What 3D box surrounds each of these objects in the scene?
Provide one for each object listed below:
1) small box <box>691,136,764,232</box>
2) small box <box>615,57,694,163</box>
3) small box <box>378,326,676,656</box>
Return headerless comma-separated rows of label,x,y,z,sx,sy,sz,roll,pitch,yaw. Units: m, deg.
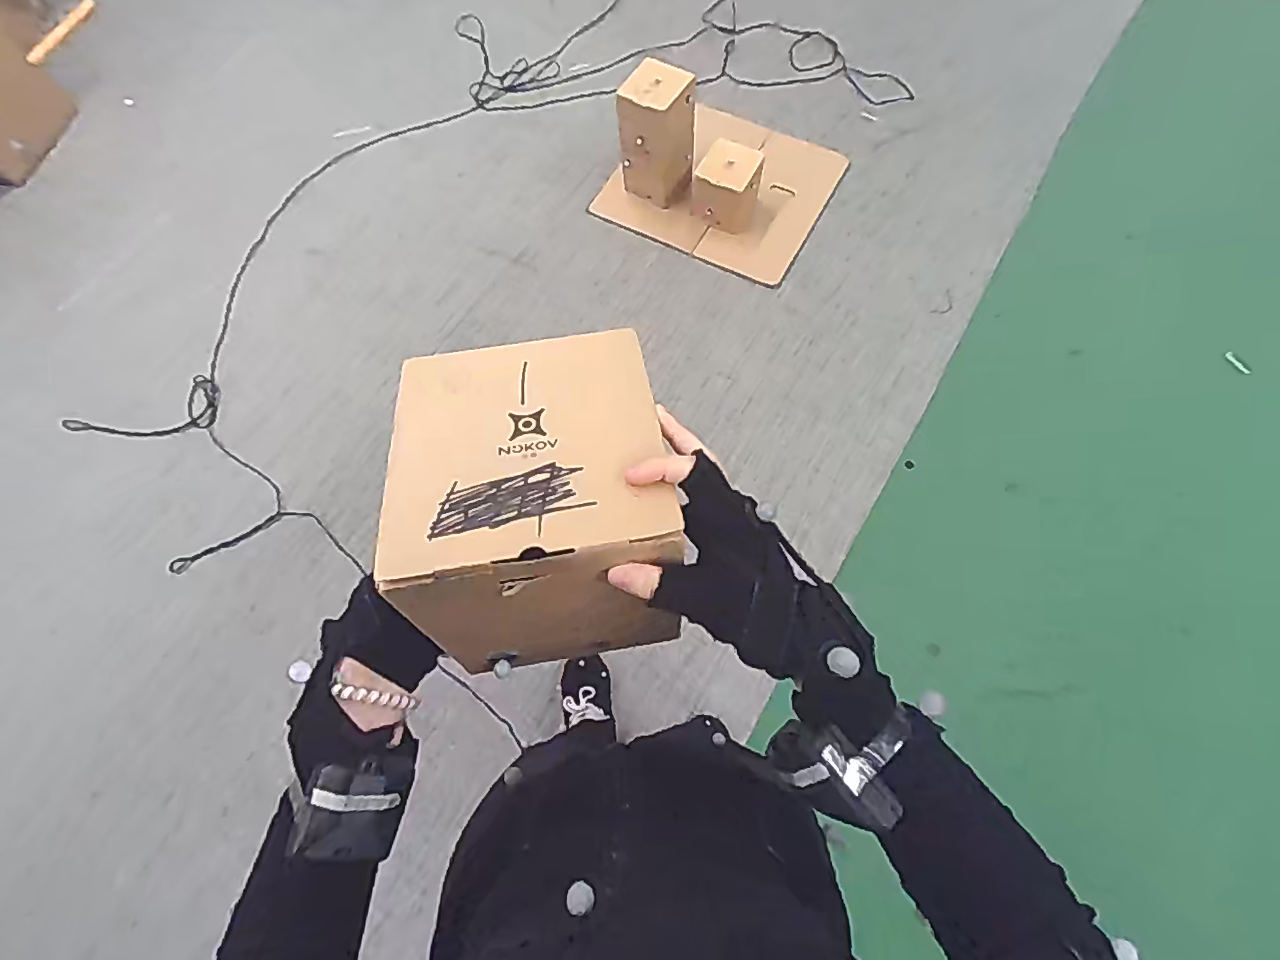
small box,0.269,-0.932,1.711,0.168,0.176,0.179,26,75,11
small box,0.044,-1.092,1.601,0.168,0.176,0.179,30,75,14
small box,-0.067,0.018,0.400,0.168,0.176,0.179,-9,55,-3
